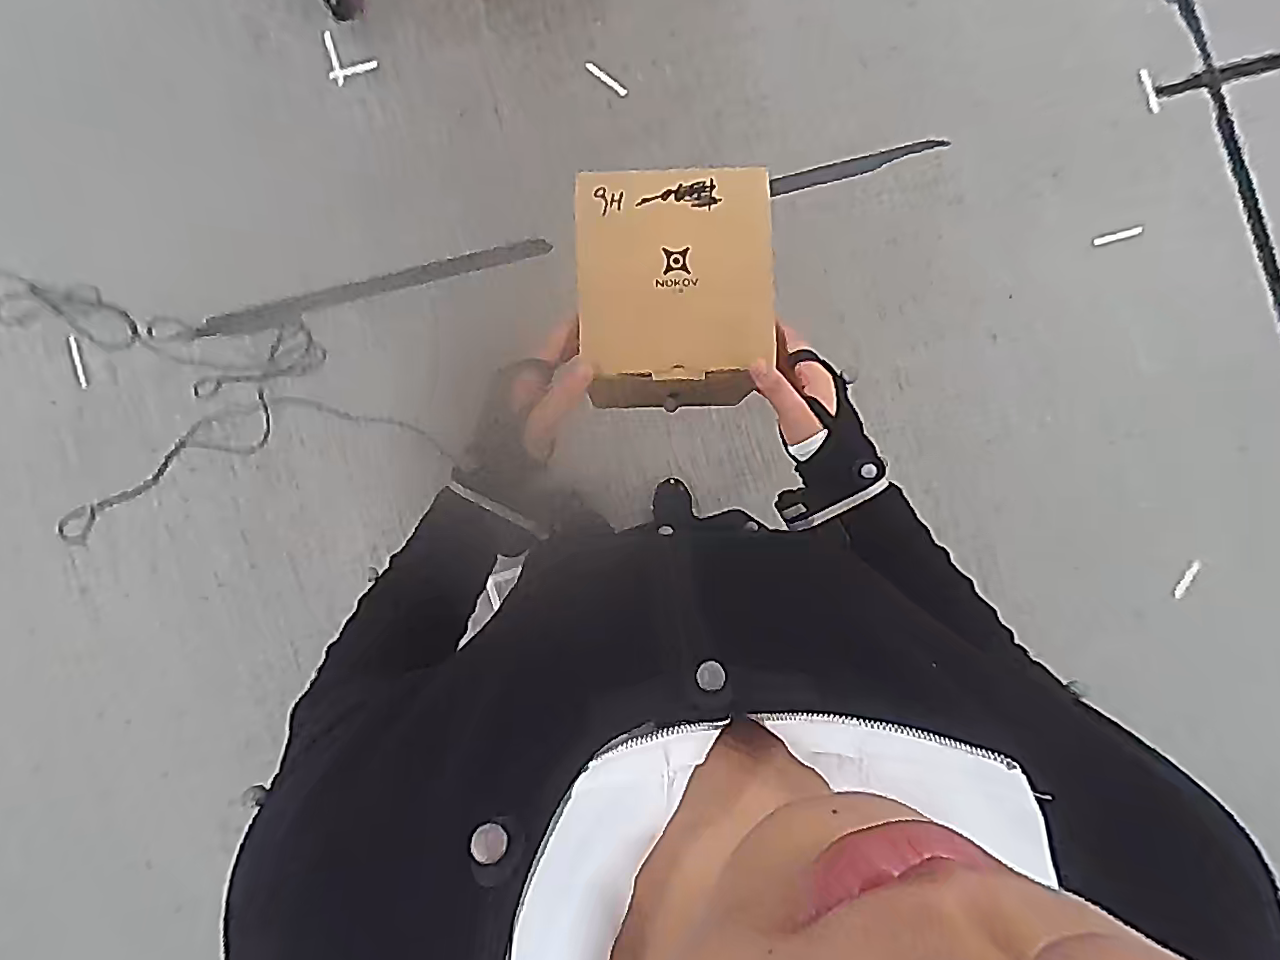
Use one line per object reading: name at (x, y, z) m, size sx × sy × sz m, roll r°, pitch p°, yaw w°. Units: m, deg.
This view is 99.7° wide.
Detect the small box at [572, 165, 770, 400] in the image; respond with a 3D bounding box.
small box at (0.027, -0.175, 0.534) m, size 0.168 × 0.176 × 0.179 m, roll -2°, pitch 89°, yaw -1°
